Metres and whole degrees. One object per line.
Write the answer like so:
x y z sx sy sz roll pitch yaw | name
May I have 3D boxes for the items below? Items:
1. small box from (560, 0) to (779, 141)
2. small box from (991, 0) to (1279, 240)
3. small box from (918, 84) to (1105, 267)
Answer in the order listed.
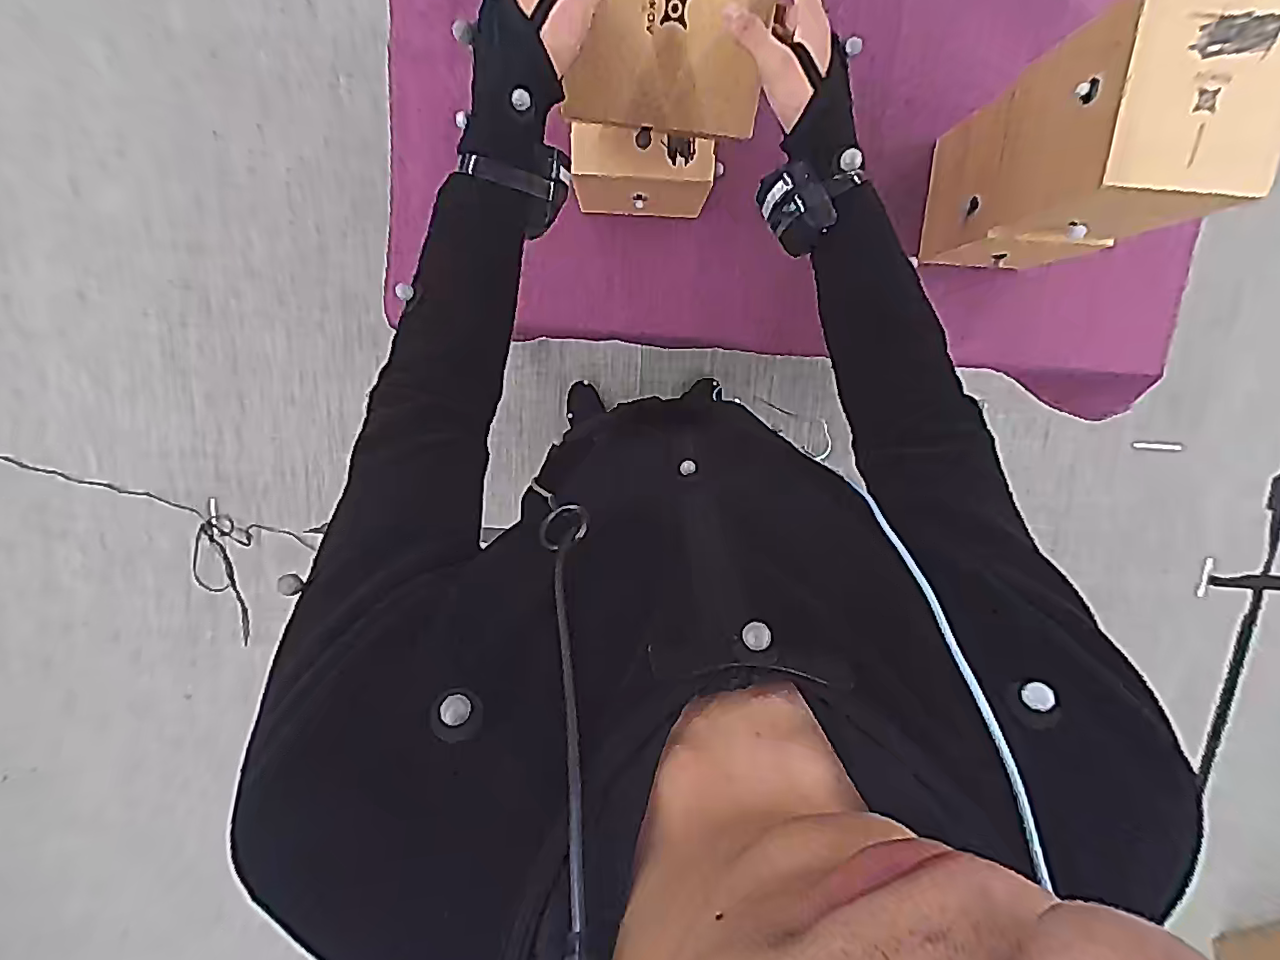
0.019 -0.426 0.501 0.179 0.176 0.168 3 125 -6 | small box
0.520 -0.377 0.583 0.168 0.176 0.179 4 102 -2 | small box
0.514 -0.401 0.746 0.168 0.176 0.179 3 102 -3 | small box
